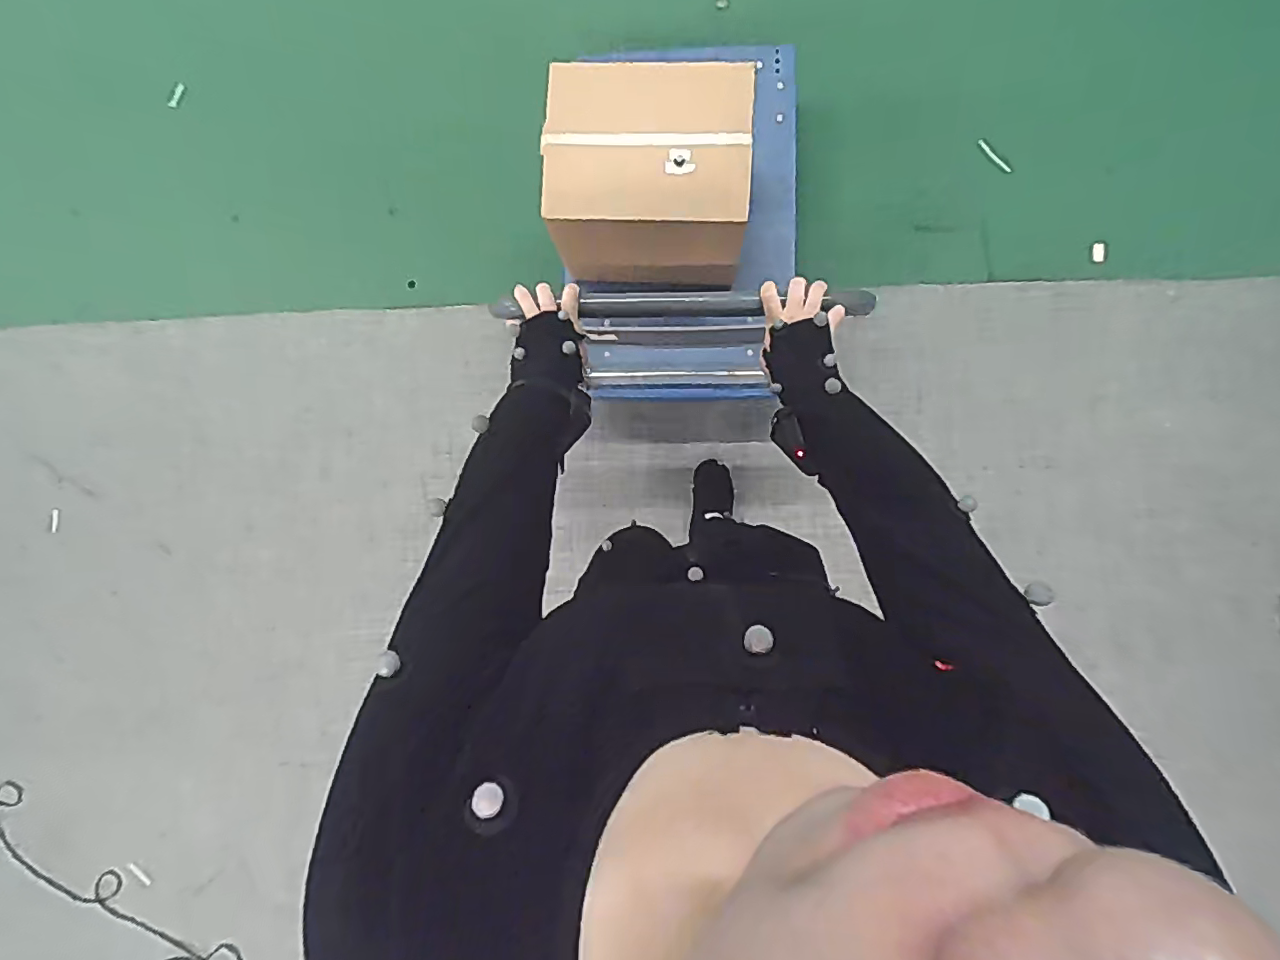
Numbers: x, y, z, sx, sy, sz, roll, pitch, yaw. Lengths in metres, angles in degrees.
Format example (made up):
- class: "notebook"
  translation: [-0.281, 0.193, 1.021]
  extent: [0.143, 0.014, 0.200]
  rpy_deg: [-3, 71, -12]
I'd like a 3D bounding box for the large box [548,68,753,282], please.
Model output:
- class: "large box"
  translation: [0.027, -0.656, 1.214]
  extent: [0.408, 0.320, 0.320]
  rpy_deg: [3, 88, 4]
